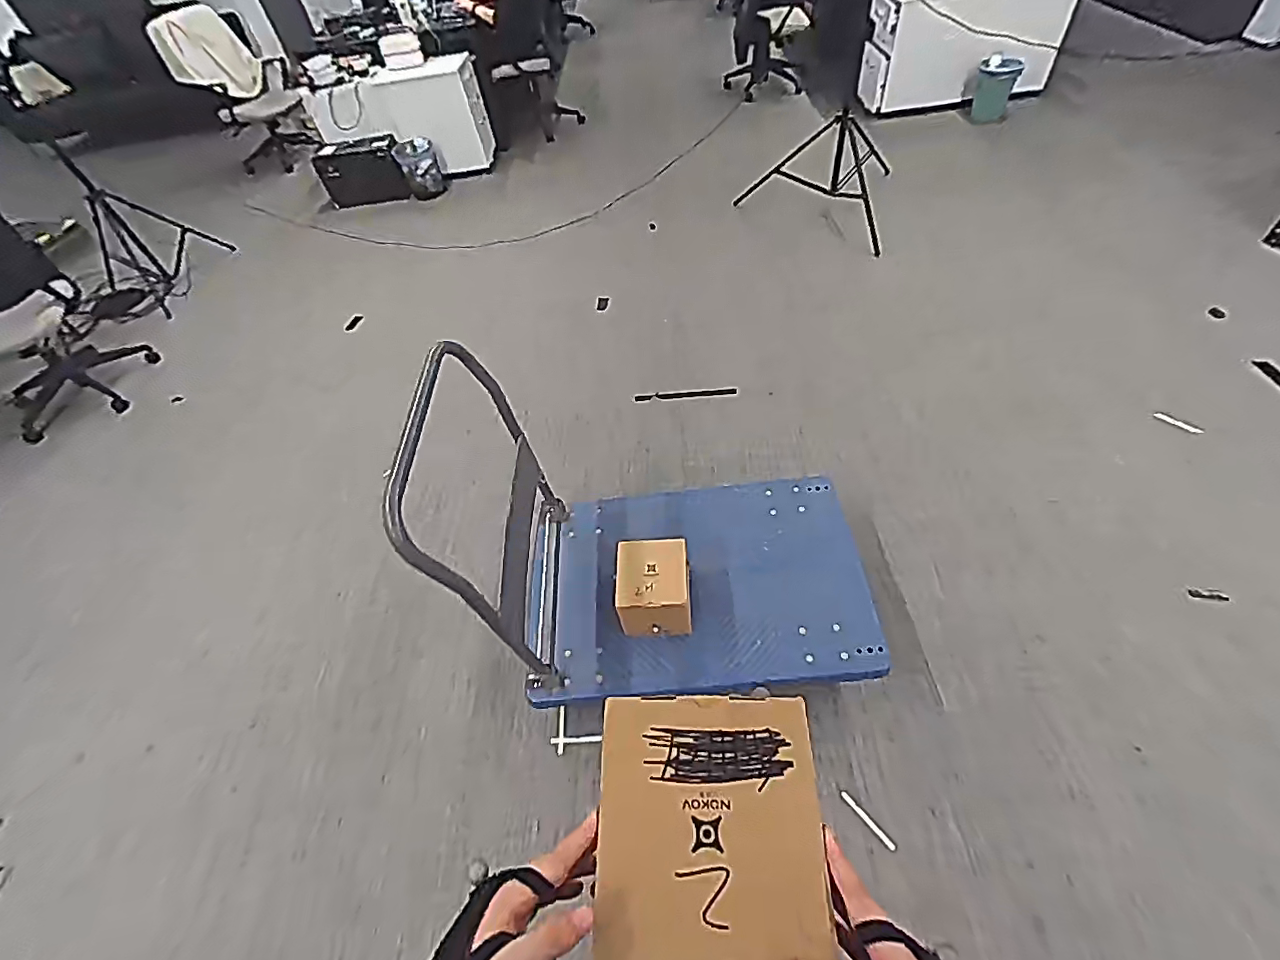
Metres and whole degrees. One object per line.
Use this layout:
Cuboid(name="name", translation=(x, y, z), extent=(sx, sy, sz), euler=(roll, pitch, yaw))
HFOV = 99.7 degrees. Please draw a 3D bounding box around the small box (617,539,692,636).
Cuboid(name="small box", translation=(0.041, 0.266, 1.329), extent=(0.168, 0.176, 0.179), euler=(-4, 51, 6))
